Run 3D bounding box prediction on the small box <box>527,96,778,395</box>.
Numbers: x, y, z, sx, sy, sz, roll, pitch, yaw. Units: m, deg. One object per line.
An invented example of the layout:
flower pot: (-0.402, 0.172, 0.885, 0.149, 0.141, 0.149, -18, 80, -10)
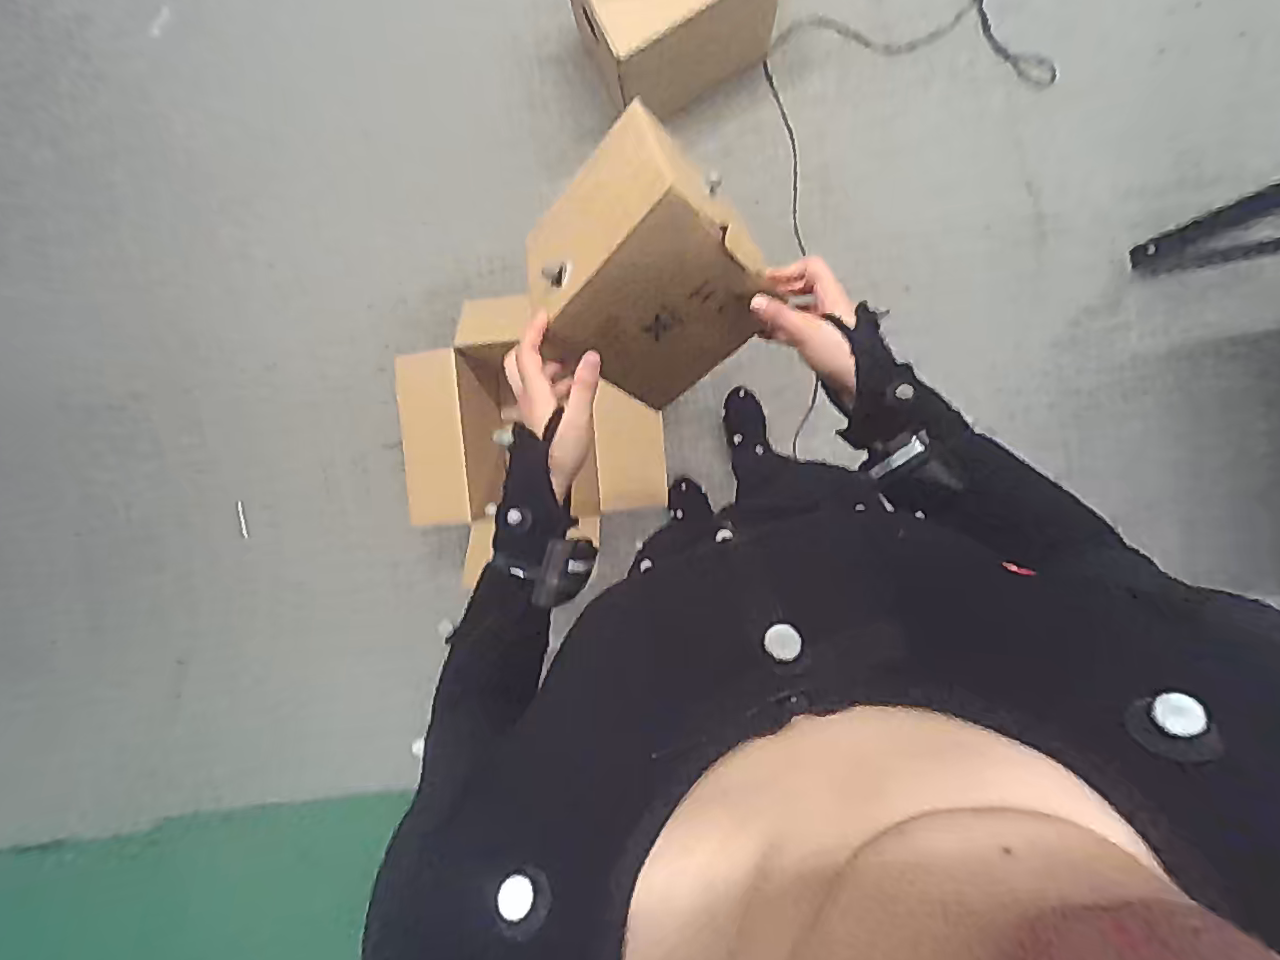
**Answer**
small box: (0.003, -0.225, 0.540, 0.179, 0.168, 0.176, -37, 47, 30)
